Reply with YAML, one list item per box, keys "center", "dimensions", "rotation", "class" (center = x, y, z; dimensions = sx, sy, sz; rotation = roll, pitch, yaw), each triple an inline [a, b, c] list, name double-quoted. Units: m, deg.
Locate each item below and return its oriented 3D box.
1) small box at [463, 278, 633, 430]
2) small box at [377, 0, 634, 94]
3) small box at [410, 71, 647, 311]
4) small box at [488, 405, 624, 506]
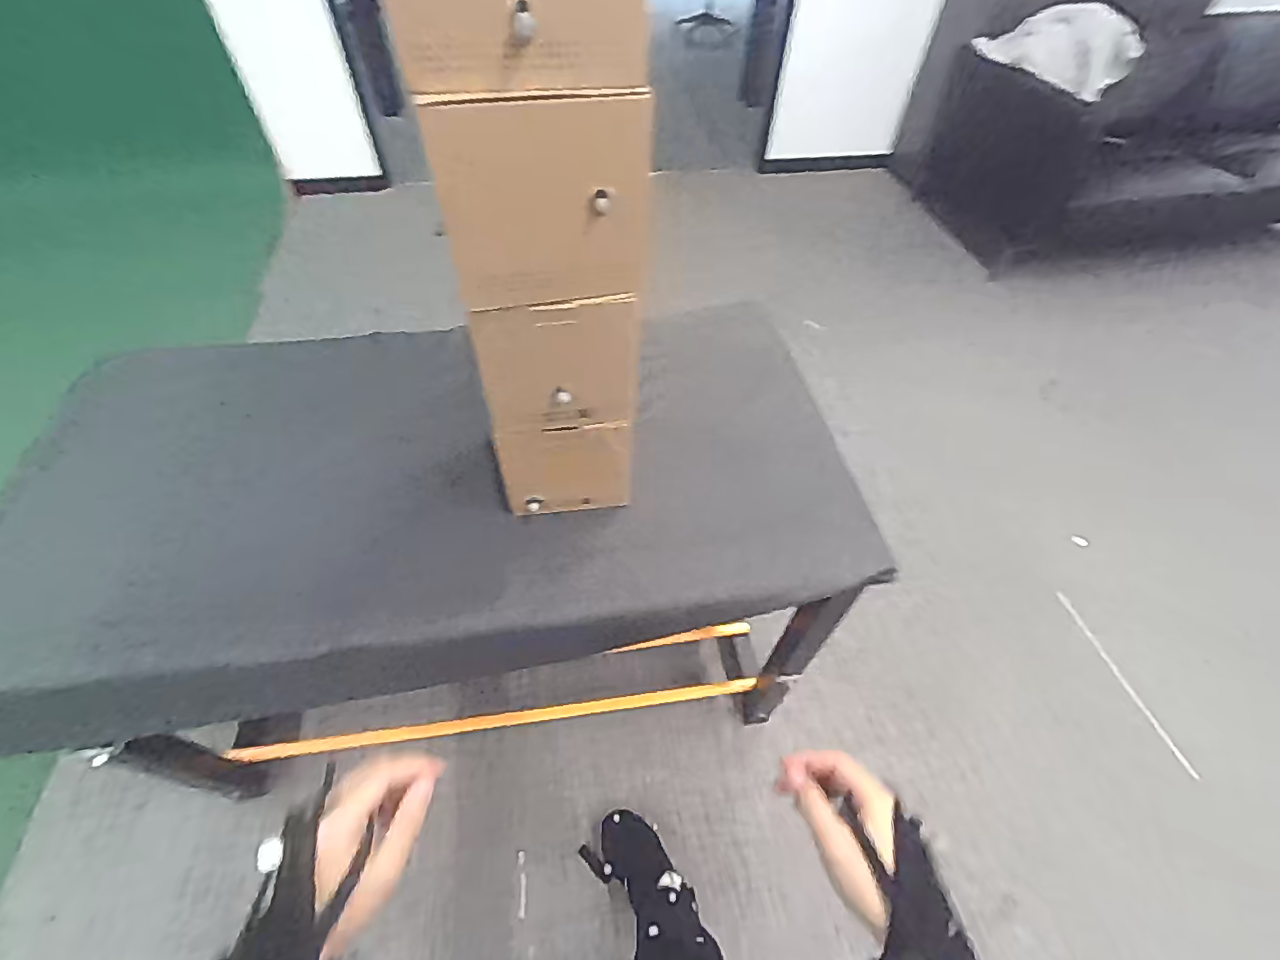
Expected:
- center: [-0.105, -0.182, 0.632]
  dimensions: [0.168, 0.176, 0.179]
  rotation: [-8, 52, -8]
  class: "small box"
- center: [-0.100, -0.398, 0.387]
  dimensions: [0.179, 0.176, 0.168]
  rotation: [-9, 50, -10]
  class: "small box"
- center: [-0.101, -0.281, 0.504]
  dimensions: [0.179, 0.176, 0.168]
  rotation: [-12, 51, -11]
  class: "small box"
- center: [-0.112, -0.076, 0.758]
  dimensions: [0.168, 0.176, 0.179]
  rotation: [-5, 51, -7]
  class: "small box"
